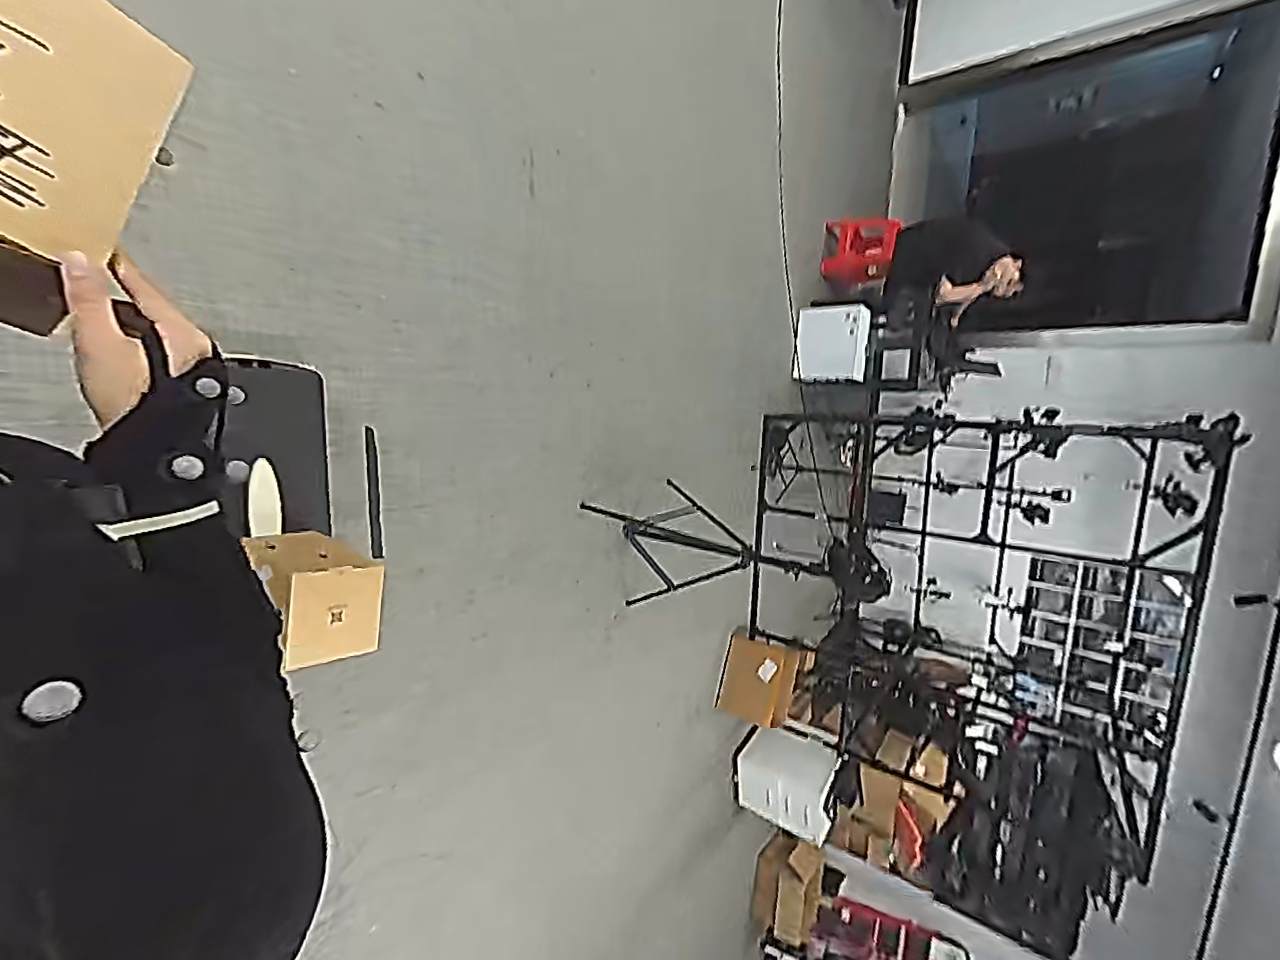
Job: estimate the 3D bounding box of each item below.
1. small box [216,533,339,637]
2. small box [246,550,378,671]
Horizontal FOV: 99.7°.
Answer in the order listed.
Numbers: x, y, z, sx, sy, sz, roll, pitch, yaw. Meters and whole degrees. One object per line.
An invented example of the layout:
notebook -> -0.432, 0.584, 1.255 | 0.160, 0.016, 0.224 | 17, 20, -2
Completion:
small box -> -0.763, 0.211, 1.136 | 0.179, 0.176, 0.168 | -2, 99, -54
small box -> -0.633, 0.241, 1.042 | 0.168, 0.176, 0.179 | 3, 93, -53
